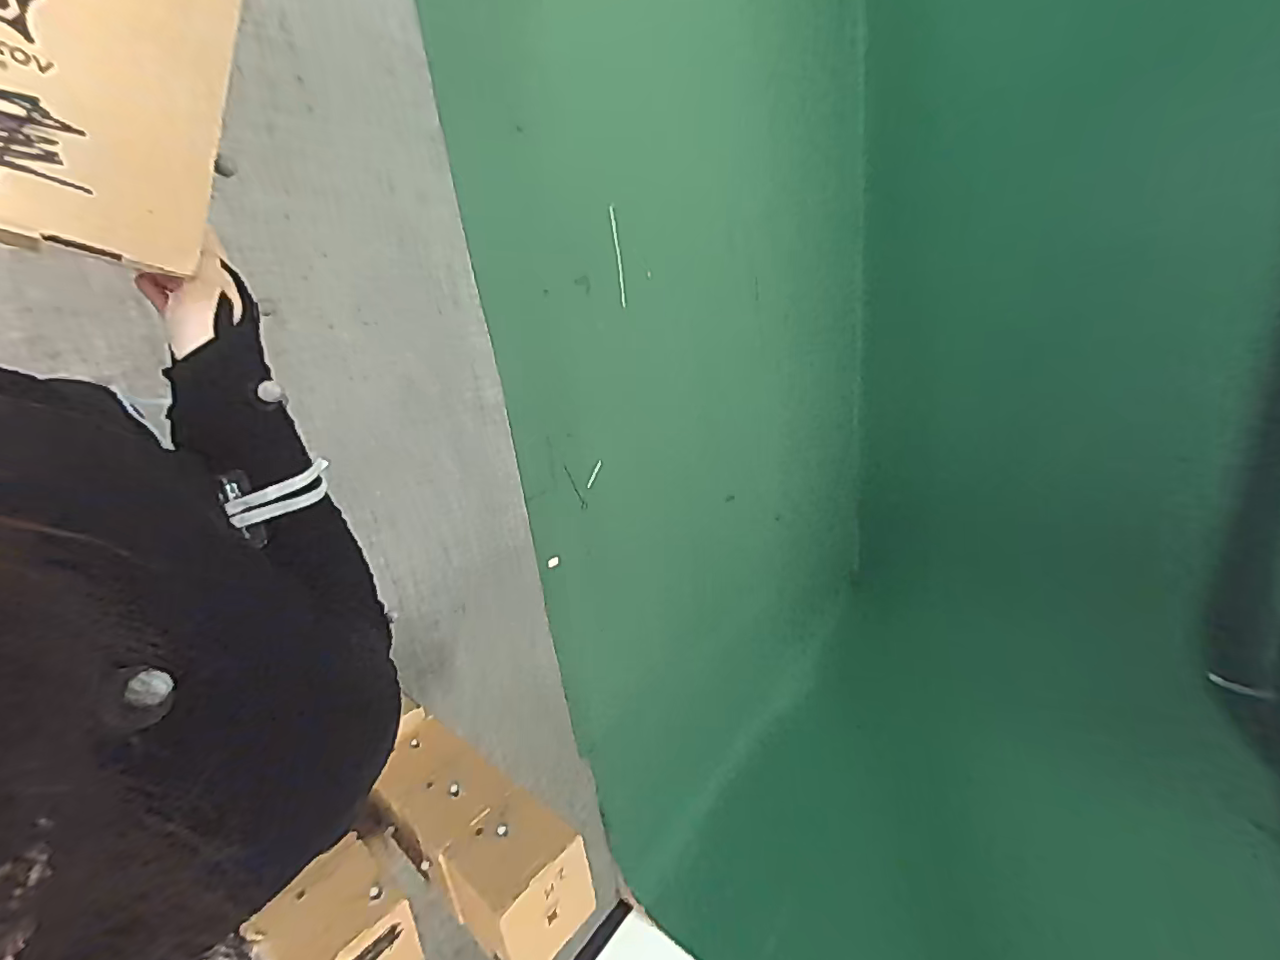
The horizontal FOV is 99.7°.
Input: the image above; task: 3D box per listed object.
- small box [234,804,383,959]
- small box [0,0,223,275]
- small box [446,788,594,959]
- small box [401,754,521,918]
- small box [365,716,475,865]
[{"bbox_3d":[-0.601,0.731,0.981,0.168,0.176,0.179,-23,115,-45],"label":"small box"},{"bbox_3d":[-0.347,-0.225,0.291,0.168,0.176,0.179,7,100,-46],"label":"small box"},{"bbox_3d":[-0.204,0.679,0.923,0.168,0.176,0.179,-24,114,-43],"label":"small box"},{"bbox_3d":[-0.328,0.657,1.029,0.168,0.176,0.179,-24,114,-42],"label":"small box"},{"bbox_3d":[-0.449,0.641,1.140,0.168,0.176,0.179,-26,115,-42],"label":"small box"}]
